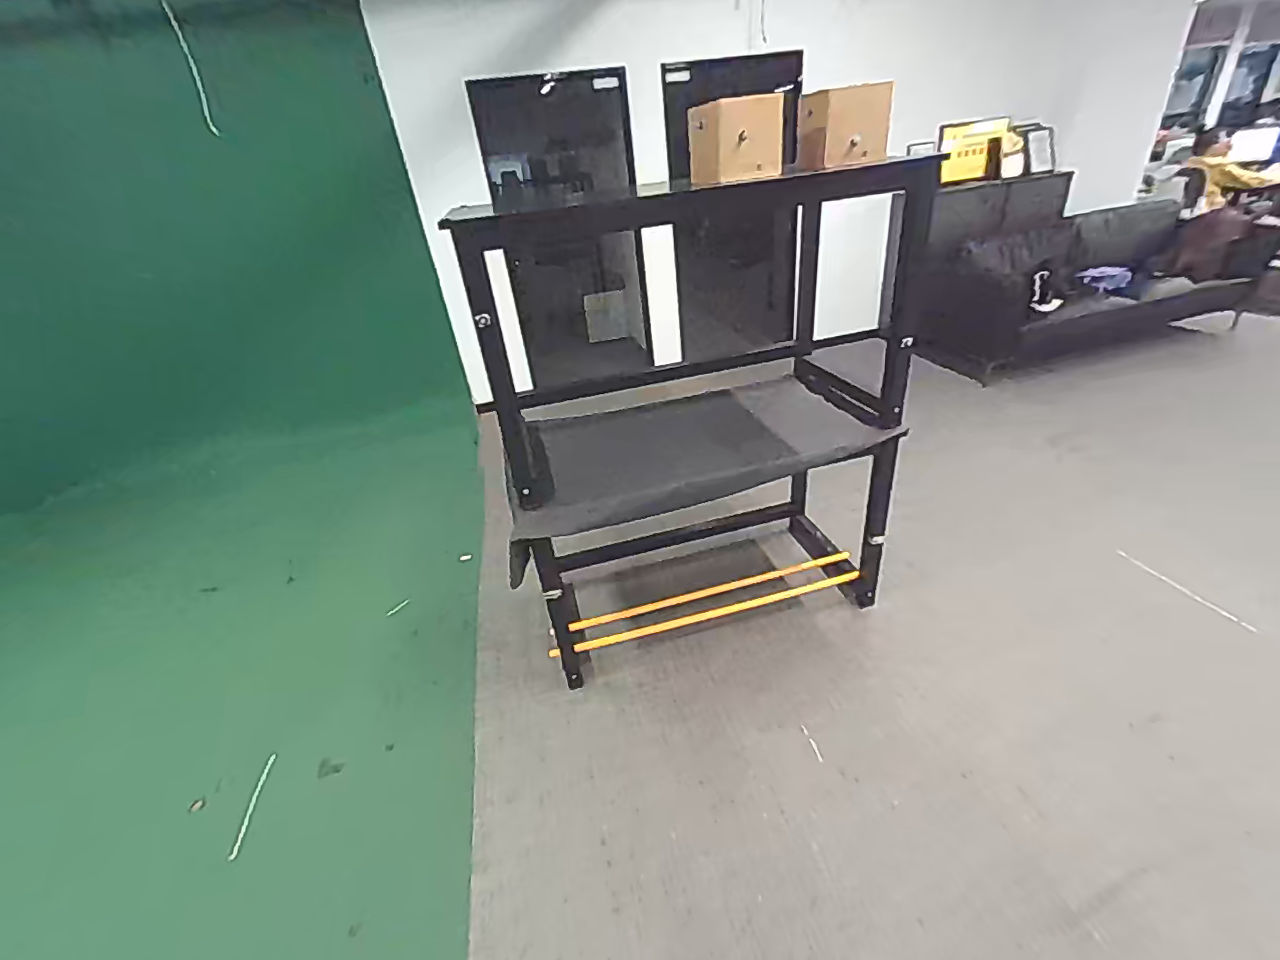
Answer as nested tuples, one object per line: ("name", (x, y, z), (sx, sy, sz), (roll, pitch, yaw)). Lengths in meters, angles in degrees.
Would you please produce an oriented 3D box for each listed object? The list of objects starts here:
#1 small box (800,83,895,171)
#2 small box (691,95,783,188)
("small box", (0.519, -0.891, 1.378), (0.168, 0.176, 0.179), (-10, 31, -4))
("small box", (0.237, -0.824, 1.328), (0.168, 0.176, 0.179), (-15, 30, -13))
